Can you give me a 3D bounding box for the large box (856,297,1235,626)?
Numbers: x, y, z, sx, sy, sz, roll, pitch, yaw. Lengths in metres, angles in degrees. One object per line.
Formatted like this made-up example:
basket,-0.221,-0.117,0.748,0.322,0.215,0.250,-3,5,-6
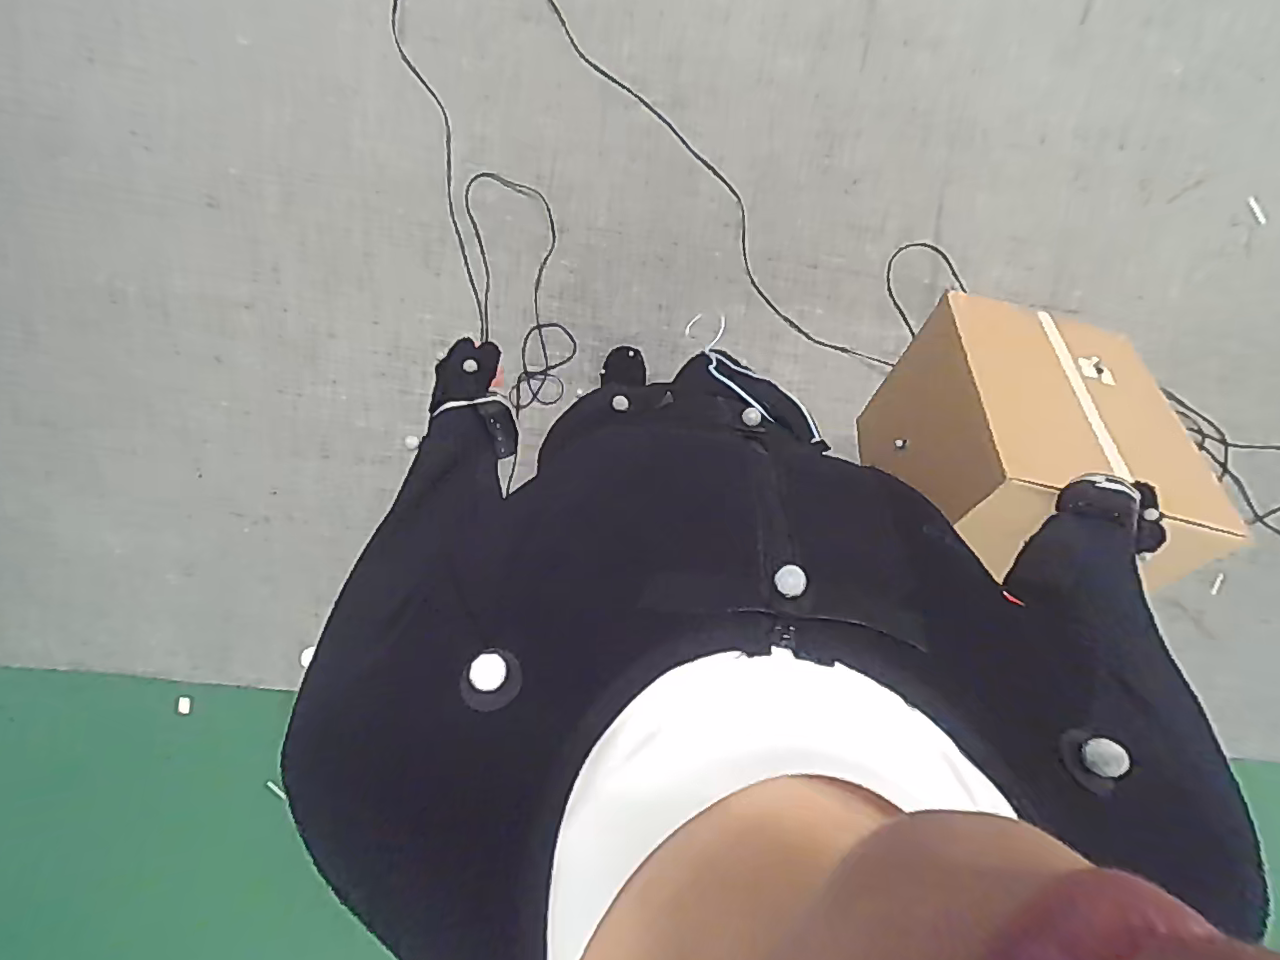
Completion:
large box,0.585,-0.027,0.890,0.320,0.408,0.320,14,141,-2
